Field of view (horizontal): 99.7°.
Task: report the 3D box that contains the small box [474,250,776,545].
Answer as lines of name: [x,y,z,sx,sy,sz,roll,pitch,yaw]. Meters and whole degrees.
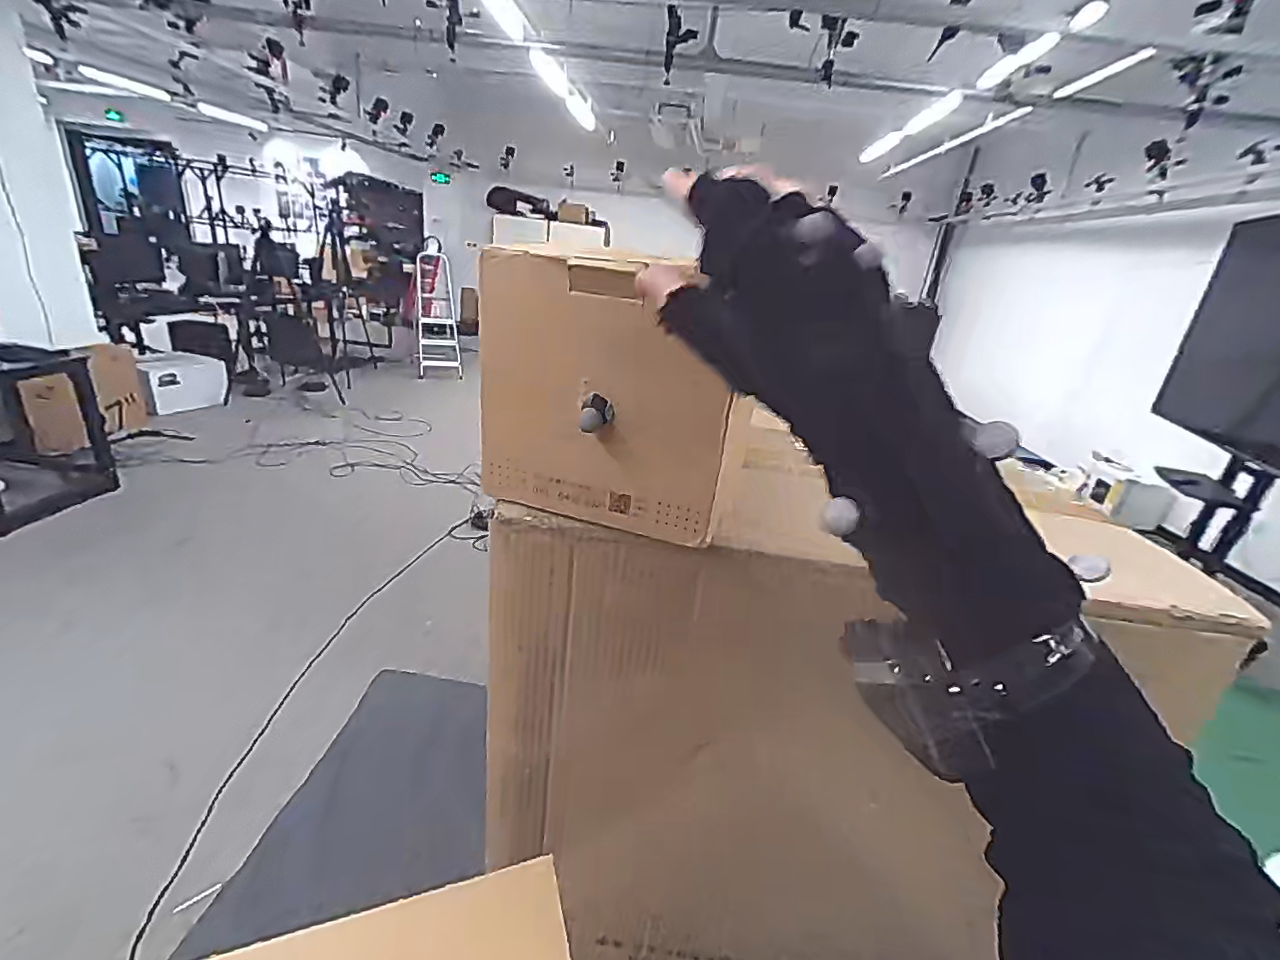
small box: [-0.003,-0.073,0.408,0.168,0.176,0.179,14,26,14]
